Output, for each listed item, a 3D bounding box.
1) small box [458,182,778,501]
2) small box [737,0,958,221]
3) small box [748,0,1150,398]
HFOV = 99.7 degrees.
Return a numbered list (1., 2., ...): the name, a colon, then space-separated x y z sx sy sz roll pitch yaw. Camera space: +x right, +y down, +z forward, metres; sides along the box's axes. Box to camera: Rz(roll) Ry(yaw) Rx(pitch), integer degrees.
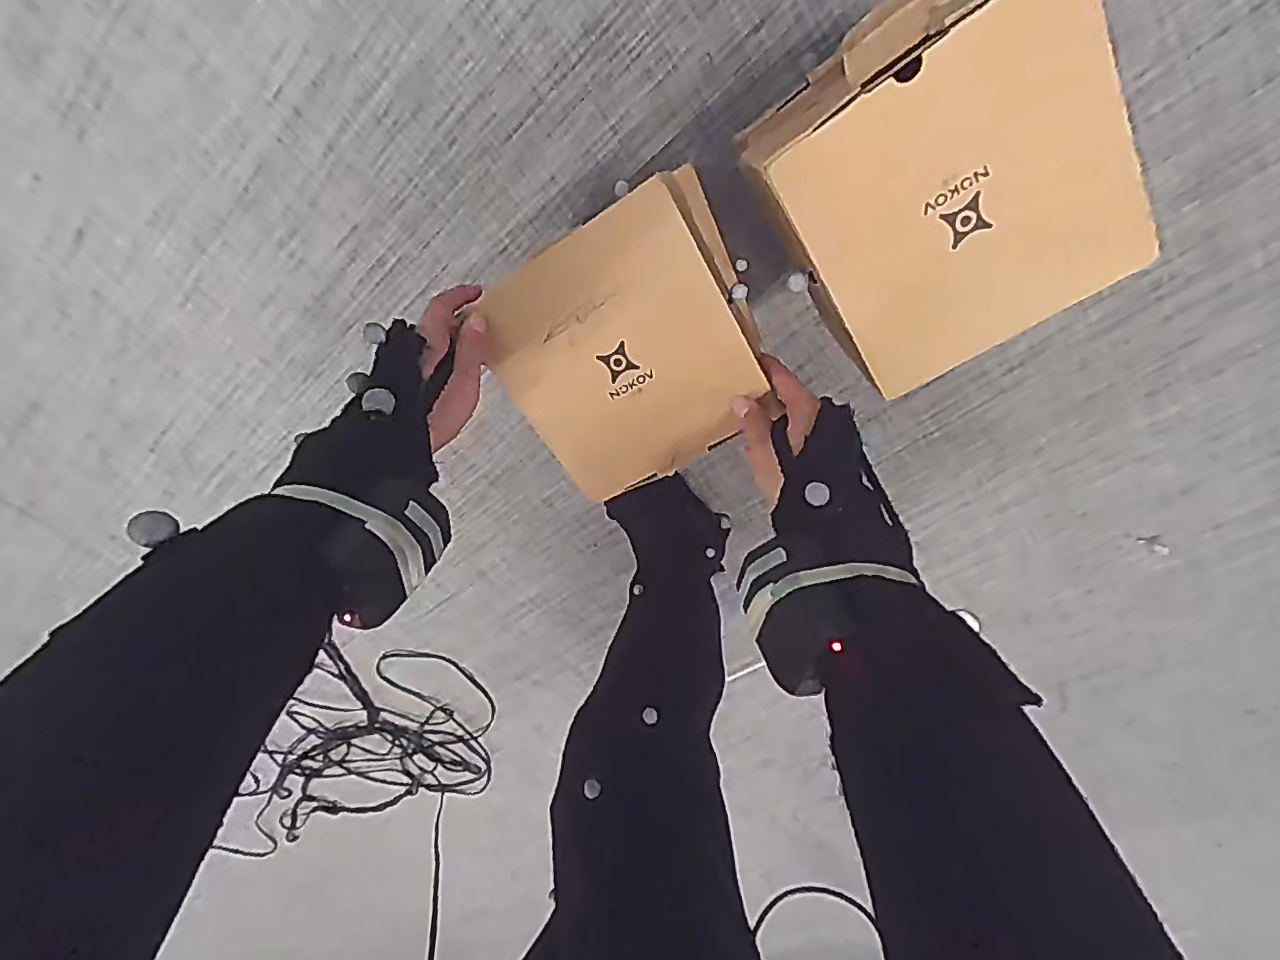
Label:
1. small box: -0.006 -0.120 0.444 0.168 0.176 0.179 -27 114 18
2. small box: 0.205 -0.295 0.509 0.168 0.176 0.179 -30 114 20
3. small box: 0.192 -0.195 0.380 0.168 0.176 0.179 -30 114 21
